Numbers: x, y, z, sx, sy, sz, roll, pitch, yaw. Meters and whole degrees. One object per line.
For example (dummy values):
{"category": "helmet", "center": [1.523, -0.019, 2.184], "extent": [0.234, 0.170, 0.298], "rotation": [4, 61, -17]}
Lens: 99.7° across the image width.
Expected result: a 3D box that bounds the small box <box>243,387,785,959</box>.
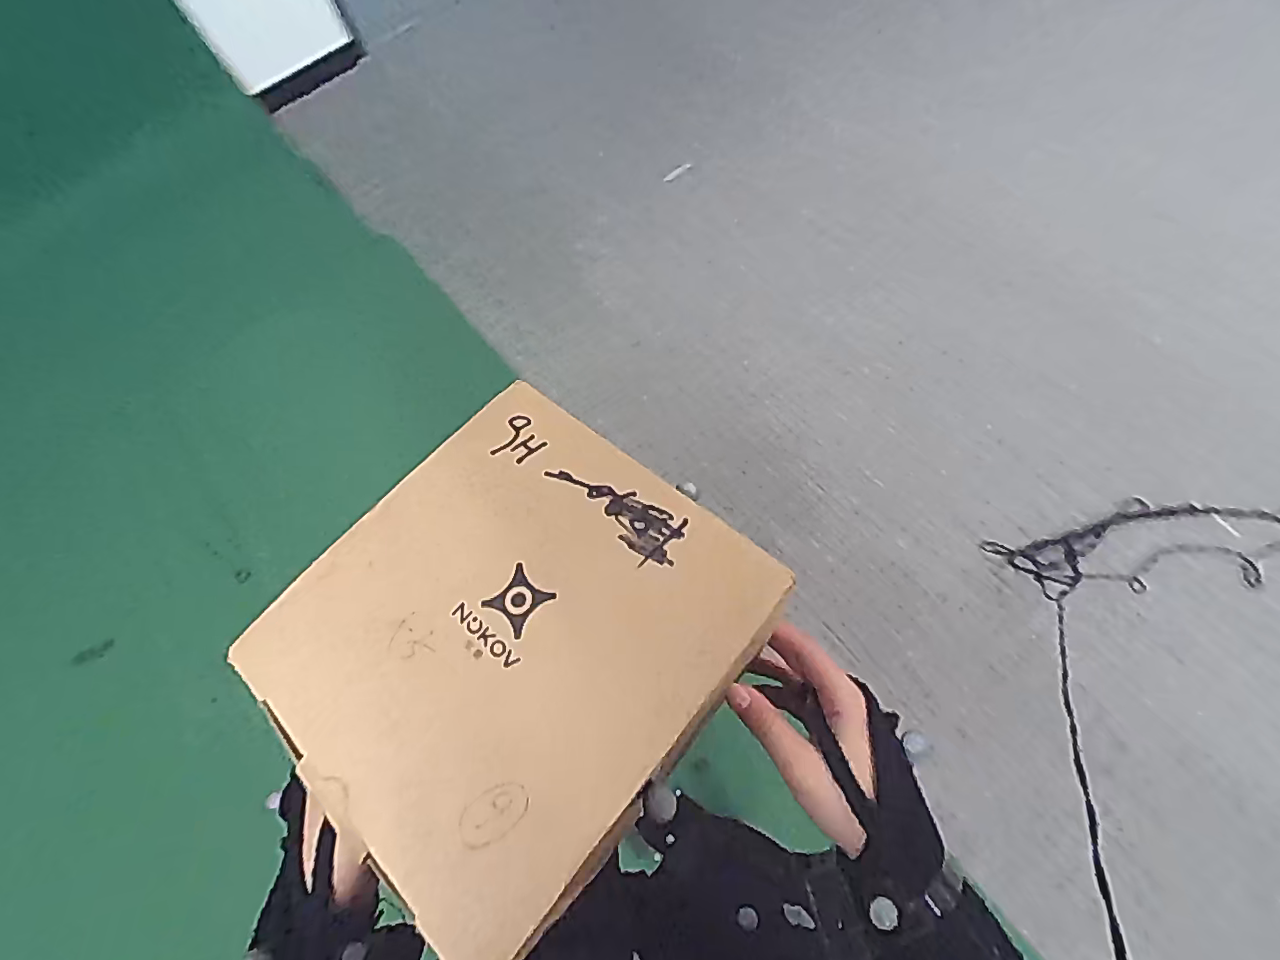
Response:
{"category": "small box", "center": [-0.044, 0.092, 0.291], "extent": [0.168, 0.176, 0.179], "rotation": [37, 74, 22]}
